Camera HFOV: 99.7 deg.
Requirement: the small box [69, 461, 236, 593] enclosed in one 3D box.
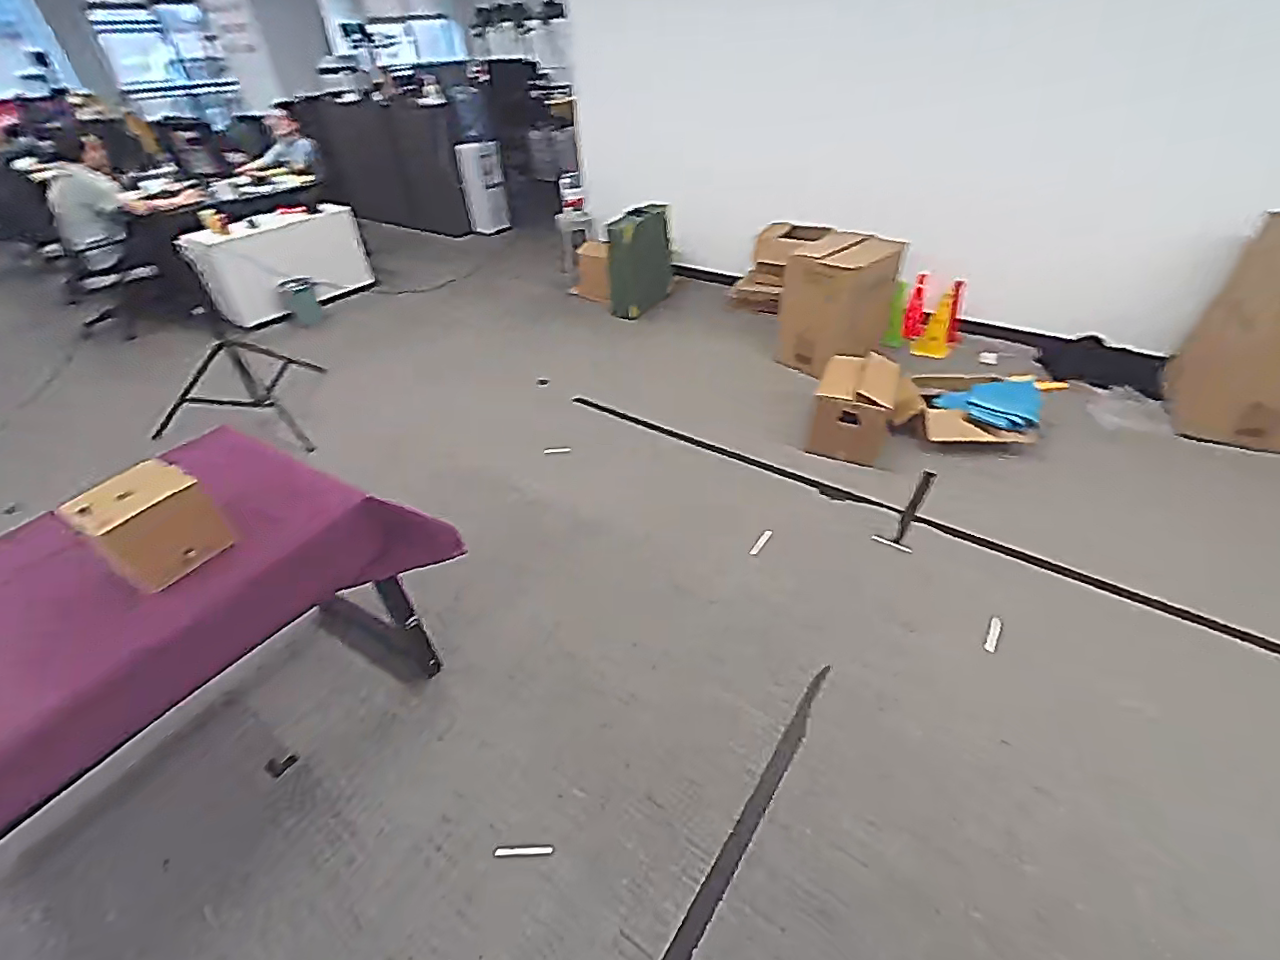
[{"bbox_3d":[-0.971,0.093,1.099,0.168,0.176,0.179,18,43,24],"label":"small box"}]
